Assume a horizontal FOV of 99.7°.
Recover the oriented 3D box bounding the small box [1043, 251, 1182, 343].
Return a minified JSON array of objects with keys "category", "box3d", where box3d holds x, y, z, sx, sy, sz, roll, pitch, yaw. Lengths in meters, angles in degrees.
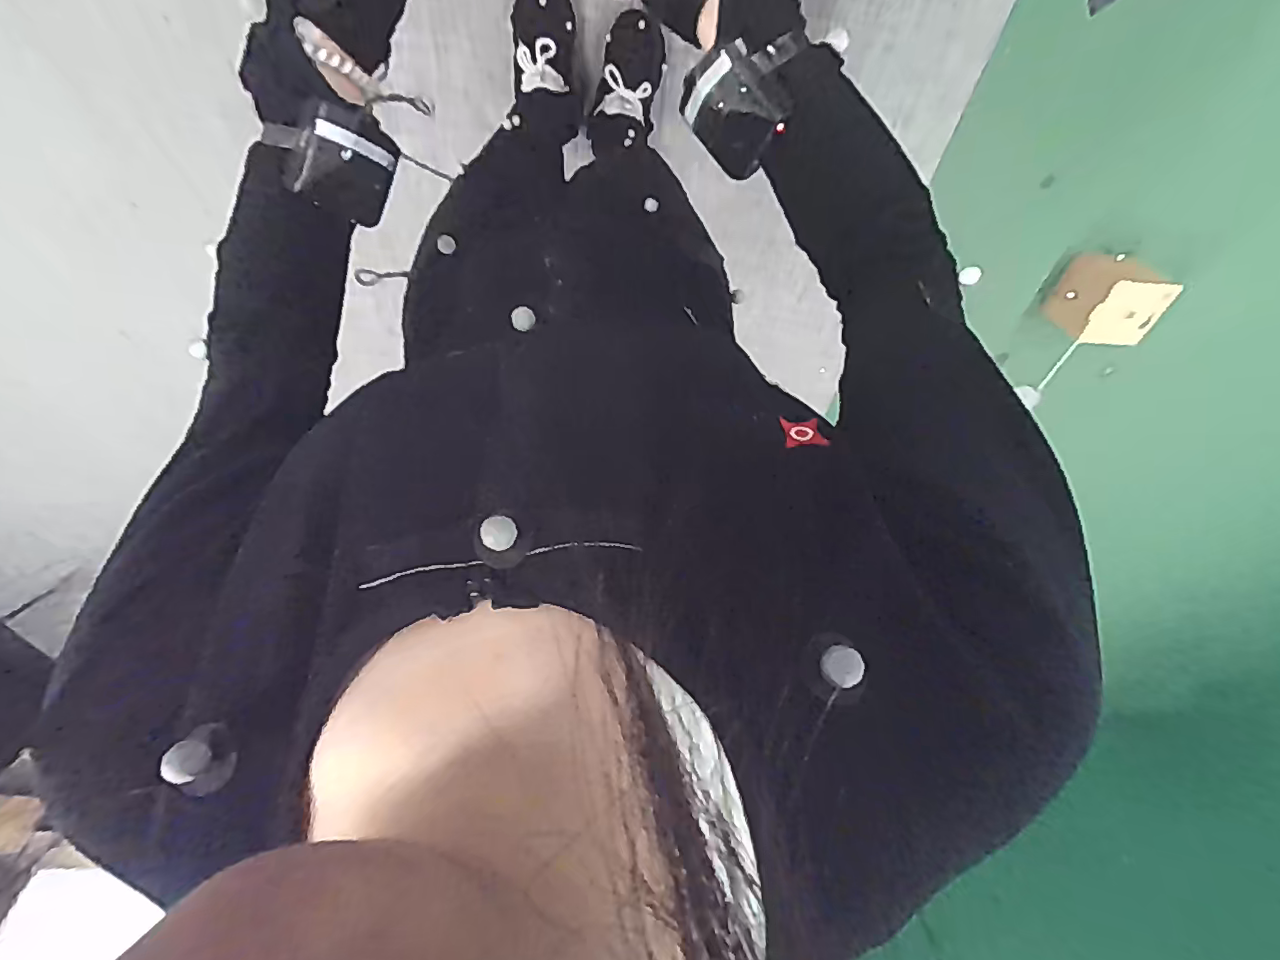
[{"category":"small box","box3d":[1.206,-0.476,1.399,0.179,0.176,0.168,3,136,-5]}]
